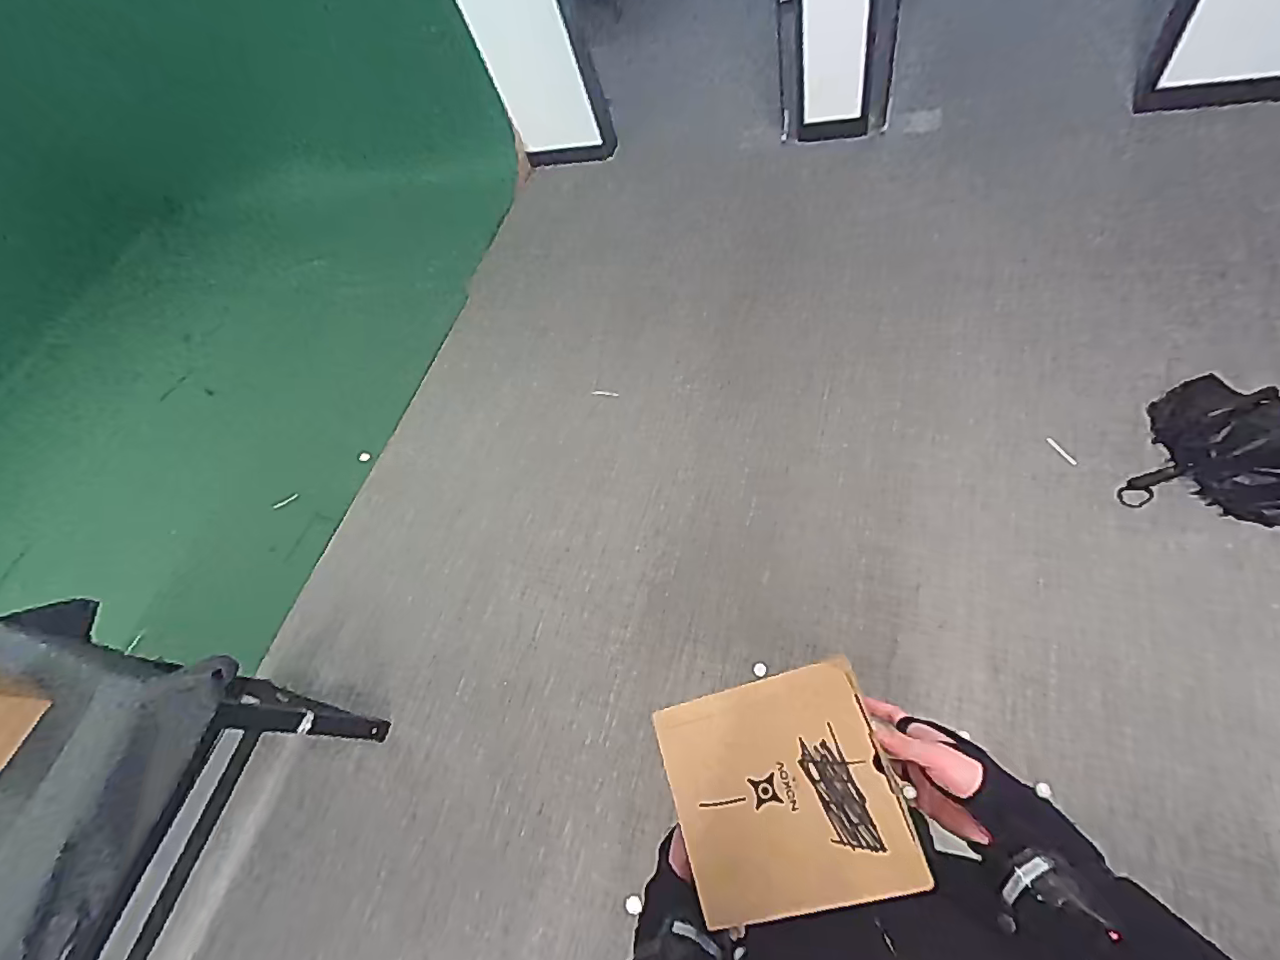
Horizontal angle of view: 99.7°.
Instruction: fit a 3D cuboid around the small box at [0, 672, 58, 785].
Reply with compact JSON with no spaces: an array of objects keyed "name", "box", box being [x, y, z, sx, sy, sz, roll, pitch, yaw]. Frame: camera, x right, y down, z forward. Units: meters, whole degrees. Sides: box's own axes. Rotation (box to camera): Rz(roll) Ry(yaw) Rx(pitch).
[{"name":"small box","box":[-1.267,0.465,1.004,0.168,0.176,0.179,14,68,23]}]
